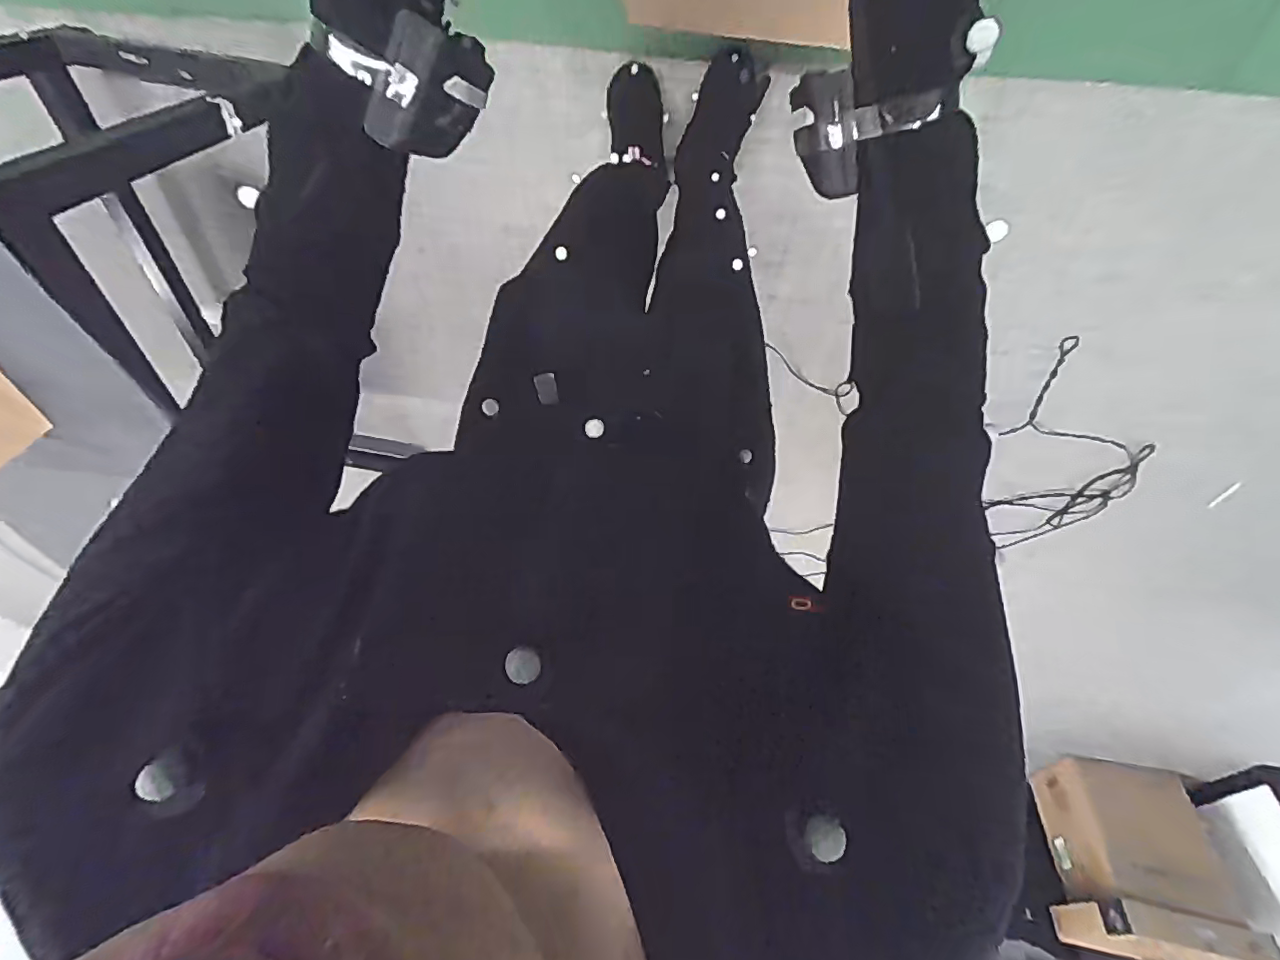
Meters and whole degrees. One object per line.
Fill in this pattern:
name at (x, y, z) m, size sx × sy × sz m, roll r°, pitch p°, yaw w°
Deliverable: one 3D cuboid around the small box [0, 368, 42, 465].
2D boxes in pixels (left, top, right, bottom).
small box at (-1.053, -0.102, 0.786) m, size 0.179 × 0.176 × 0.168 m, roll 10°, pitch 138°, yaw 4°
